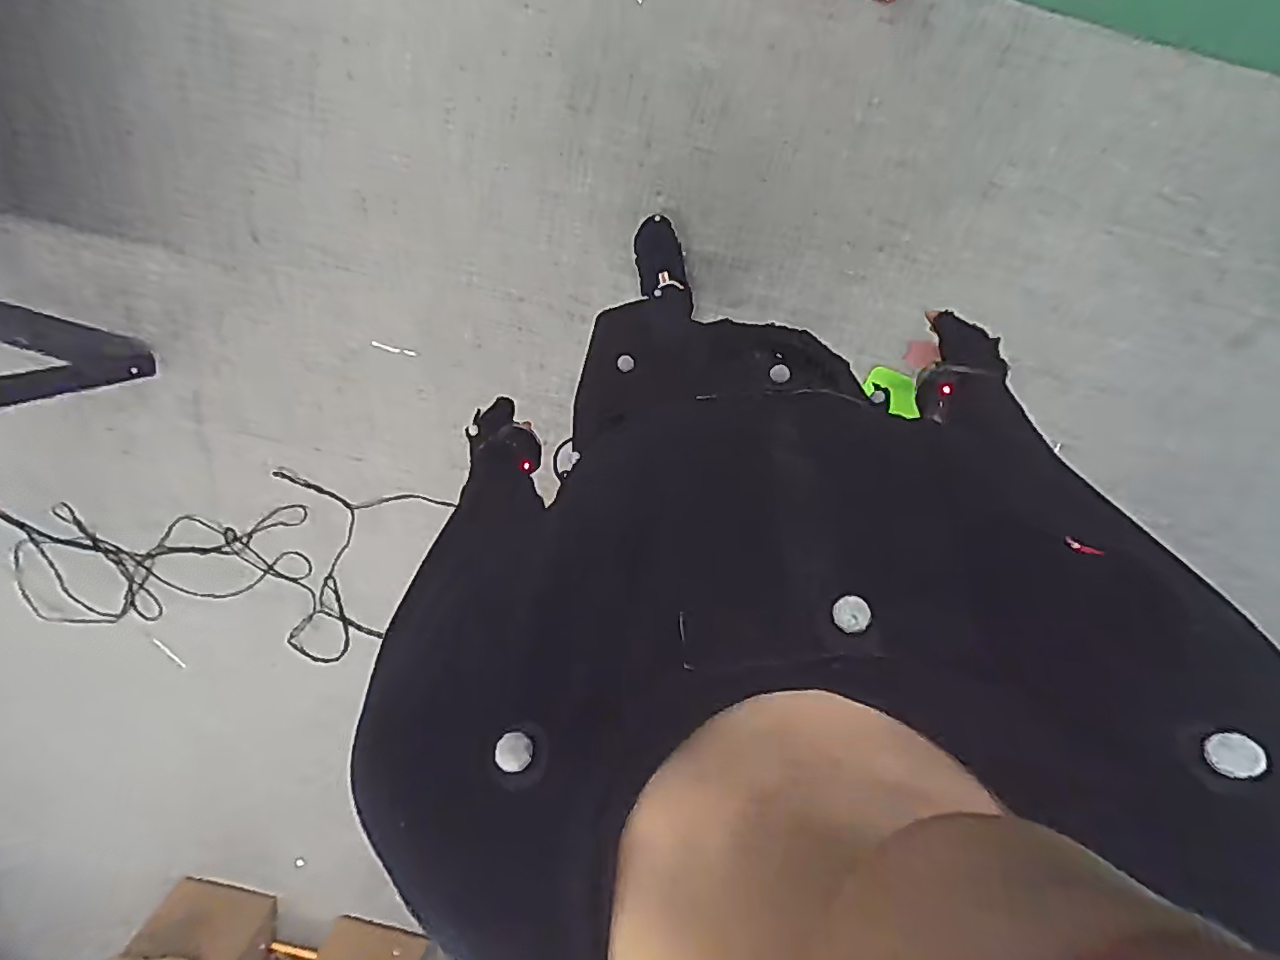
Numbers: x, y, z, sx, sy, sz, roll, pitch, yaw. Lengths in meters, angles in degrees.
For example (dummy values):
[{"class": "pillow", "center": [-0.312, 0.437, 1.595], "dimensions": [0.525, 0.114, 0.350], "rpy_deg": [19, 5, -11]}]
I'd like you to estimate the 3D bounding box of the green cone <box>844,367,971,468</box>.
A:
[{"class": "green cone", "center": [0.642, -0.111, 1.232], "dimensions": [0.200, 0.368, 0.202], "rpy_deg": [19, 111, -4]}]
